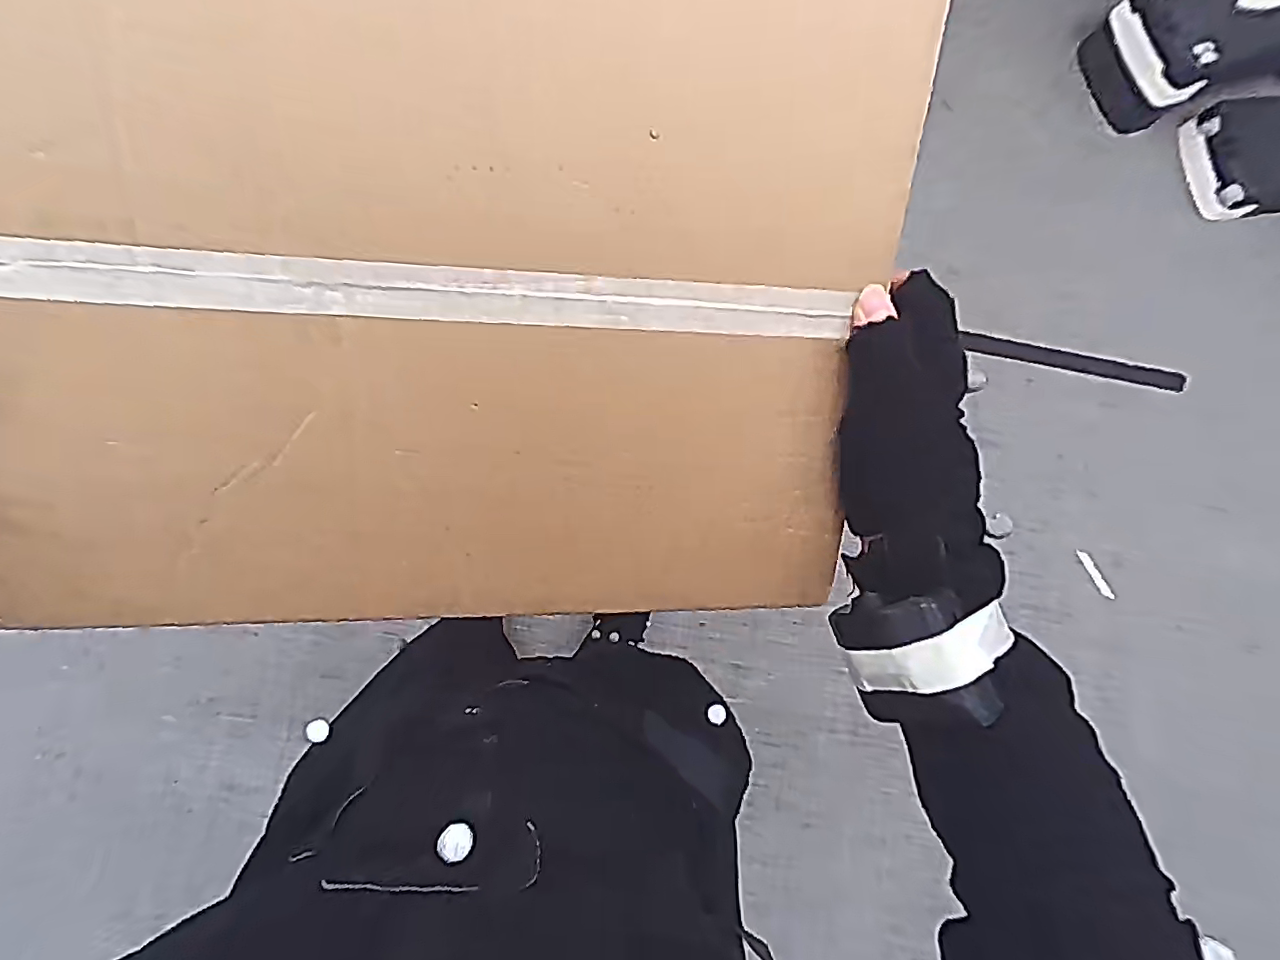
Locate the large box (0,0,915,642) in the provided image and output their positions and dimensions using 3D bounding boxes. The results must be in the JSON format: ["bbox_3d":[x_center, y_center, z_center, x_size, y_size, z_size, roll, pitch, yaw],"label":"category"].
[{"bbox_3d":[-0.111,-0.119,0.372,0.408,0.320,0.320,0,109,-9],"label":"large box"}]
